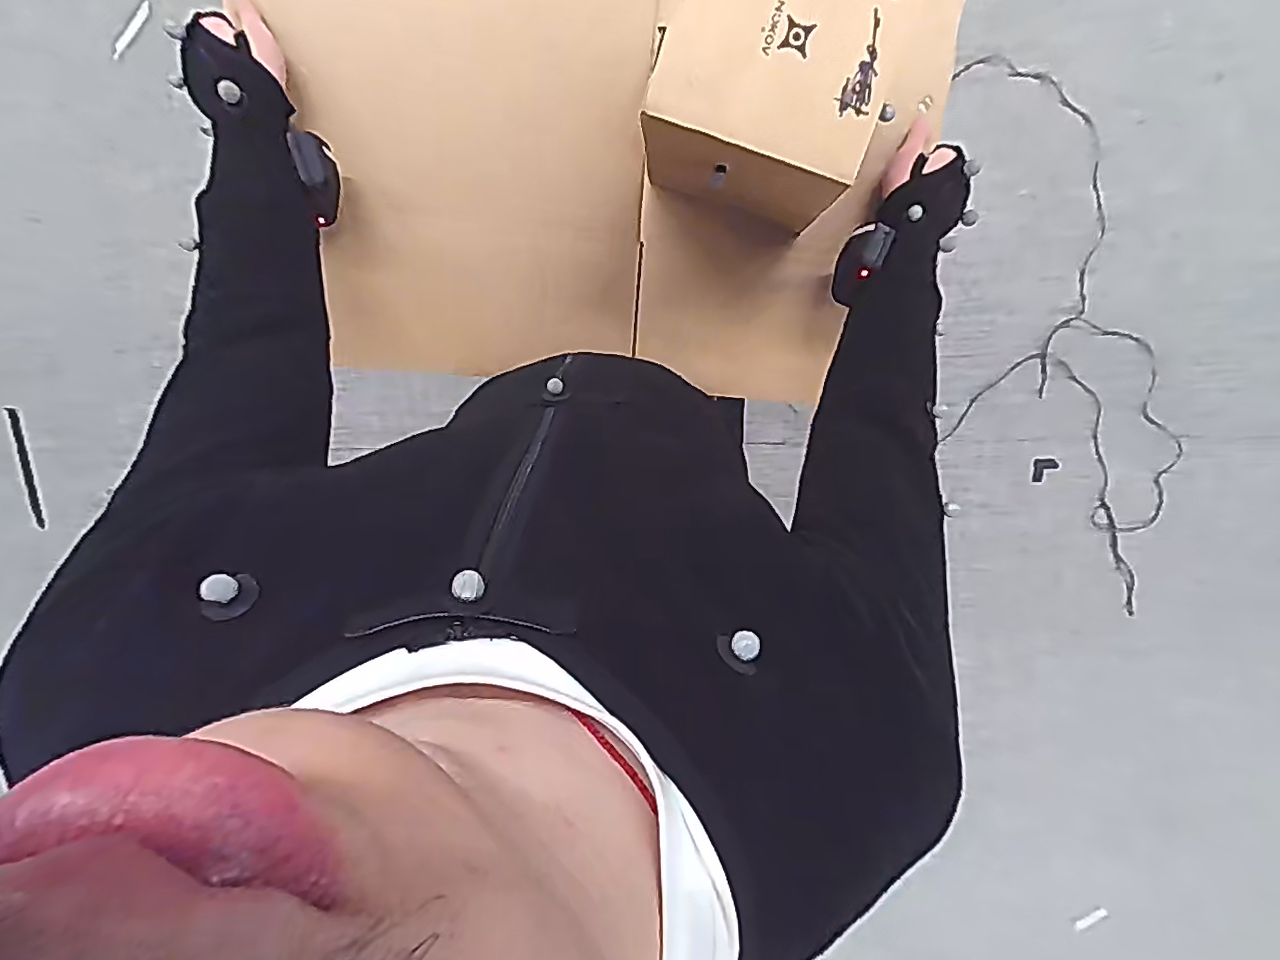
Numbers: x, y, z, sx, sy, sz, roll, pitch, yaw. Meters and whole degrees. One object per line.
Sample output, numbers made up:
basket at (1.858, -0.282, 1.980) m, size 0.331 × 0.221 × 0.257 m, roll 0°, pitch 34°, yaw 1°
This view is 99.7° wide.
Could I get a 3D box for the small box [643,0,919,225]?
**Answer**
small box at (0.114, -0.352, 0.485) m, size 0.179 × 0.176 × 0.168 m, roll 19°, pitch 103°, yaw 0°
